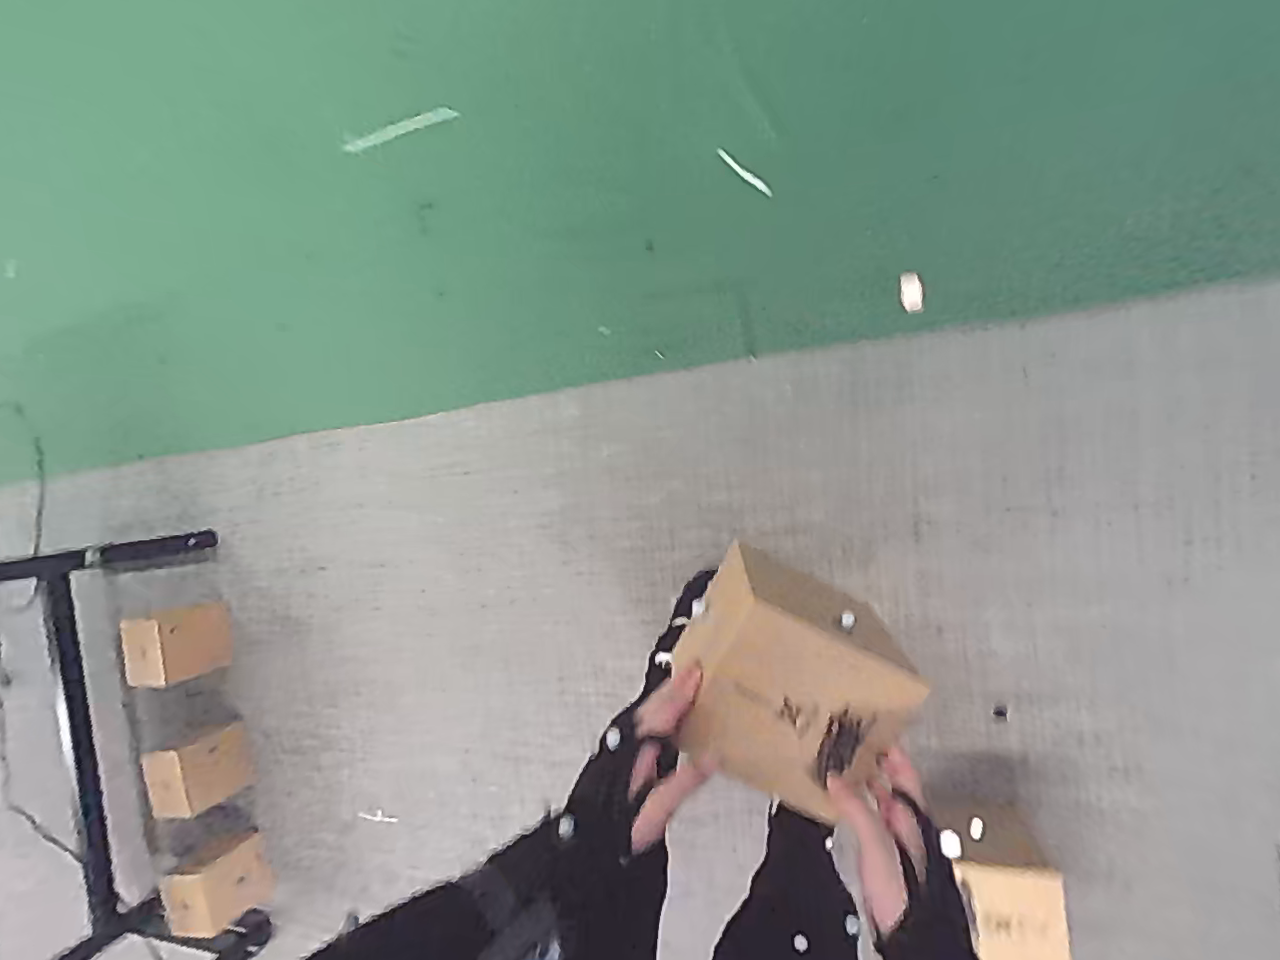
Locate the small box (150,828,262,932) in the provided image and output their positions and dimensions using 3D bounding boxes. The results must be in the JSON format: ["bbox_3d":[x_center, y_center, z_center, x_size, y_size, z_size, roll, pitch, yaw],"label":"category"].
[{"bbox_3d":[-1.163,1.075,1.465,0.179,0.176,0.168,-15,88,19],"label":"small box"}]

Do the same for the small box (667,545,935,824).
[{"bbox_3d":[0.140,0.186,0.541,0.179,0.176,0.168,25,102,-1],"label":"small box"}]

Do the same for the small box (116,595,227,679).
[{"bbox_3d":[-1.259,0.419,1.464,0.168,0.176,0.179,-5,91,20],"label":"small box"}]

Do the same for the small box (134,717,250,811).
[{"bbox_3d":[-1.205,0.760,1.464,0.168,0.176,0.179,-13,89,20],"label":"small box"}]
